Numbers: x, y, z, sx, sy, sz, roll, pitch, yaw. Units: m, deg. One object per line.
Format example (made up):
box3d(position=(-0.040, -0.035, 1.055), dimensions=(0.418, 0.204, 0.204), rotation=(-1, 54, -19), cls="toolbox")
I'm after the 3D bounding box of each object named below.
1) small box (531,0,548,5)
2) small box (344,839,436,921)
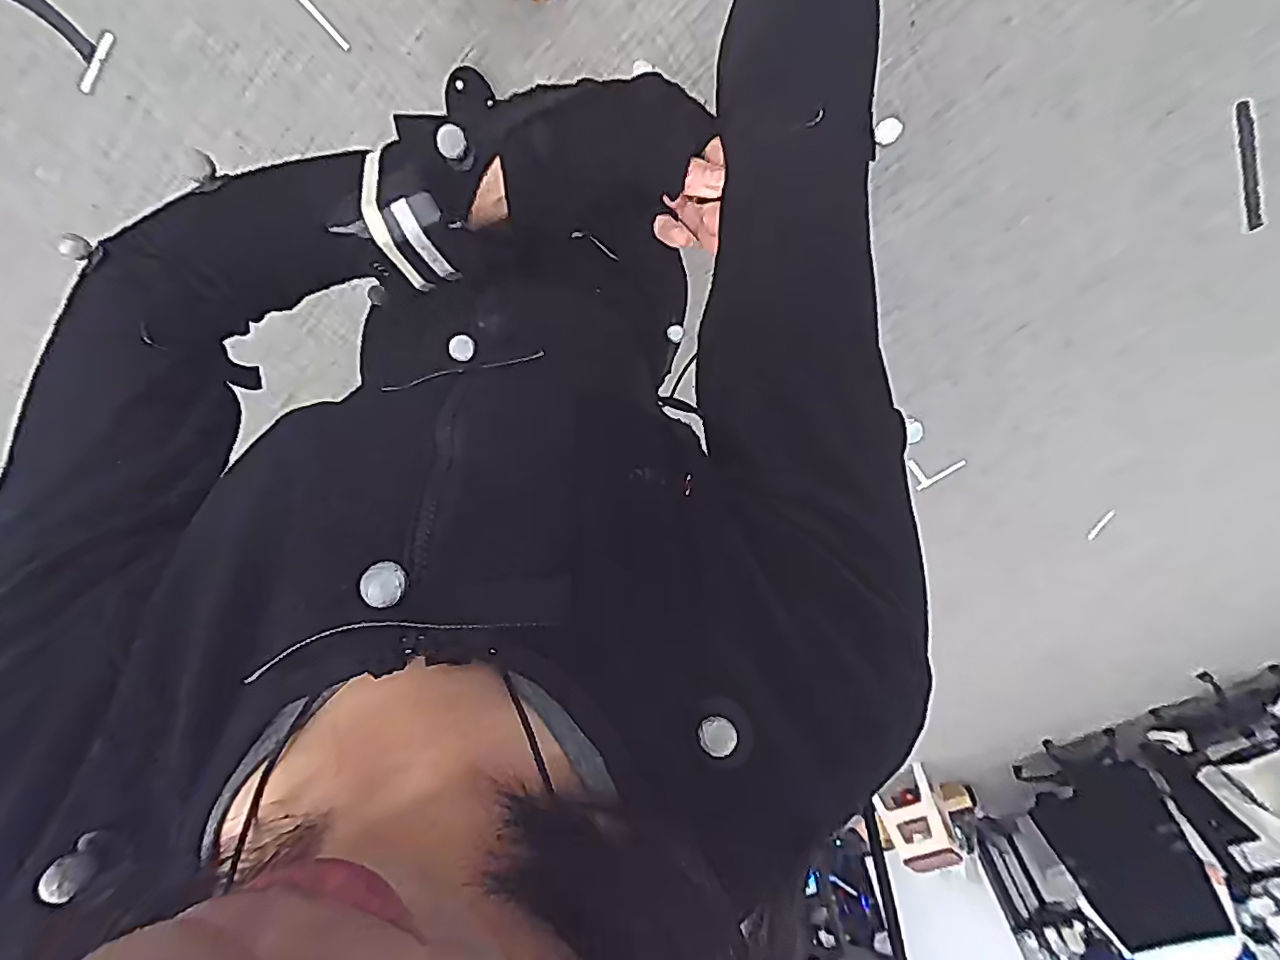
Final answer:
box3d(position=(-0.208, -0.946, 0.905), dimensions=(0.168, 0.176, 0.179), rotation=(20, 125, -19), cls="small box")
box3d(position=(-0.769, 1.239, 1.682), dimensions=(0.168, 0.176, 0.179), rotation=(-31, 126, 22), cls="small box")
